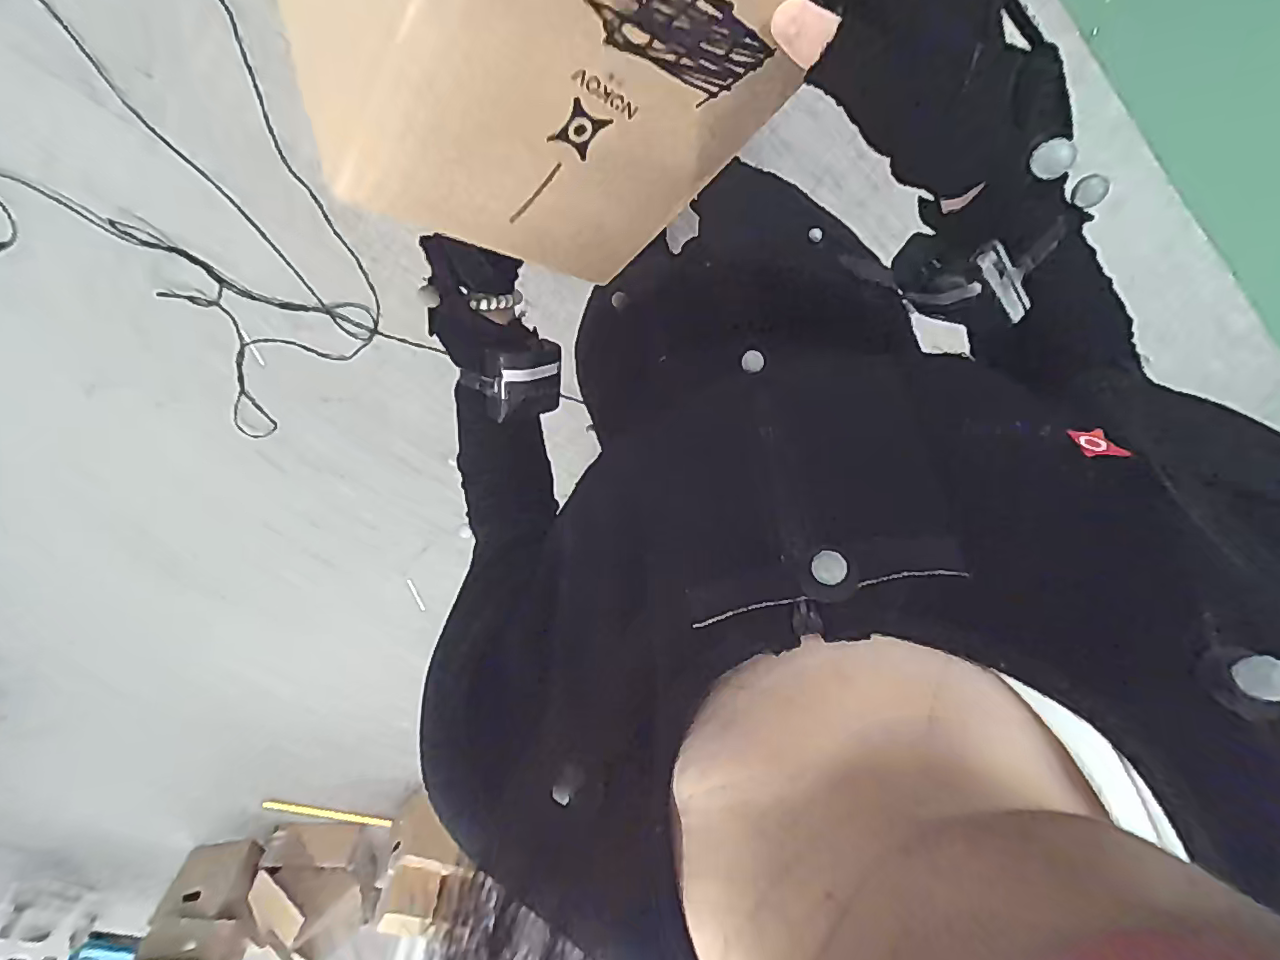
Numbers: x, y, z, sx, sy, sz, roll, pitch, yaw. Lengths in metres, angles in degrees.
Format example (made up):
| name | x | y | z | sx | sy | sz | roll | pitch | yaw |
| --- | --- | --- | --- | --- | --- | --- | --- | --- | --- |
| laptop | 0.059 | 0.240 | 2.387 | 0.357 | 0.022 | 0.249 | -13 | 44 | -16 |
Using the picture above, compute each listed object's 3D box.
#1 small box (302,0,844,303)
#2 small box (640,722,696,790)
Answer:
| name | x | y | z | sx | sy | sz | roll | pitch | yaw |
| --- | --- | --- | --- | --- | --- | --- | --- | --- | --- |
| small box | -0.043 | -0.222 | 0.255 | 0.179 | 0.176 | 0.168 | -31 | 160 | 37 |
| small box | 0.112 | 1.150 | 2.254 | 0.168 | 0.176 | 0.179 | 30 | 115 | -20 |
